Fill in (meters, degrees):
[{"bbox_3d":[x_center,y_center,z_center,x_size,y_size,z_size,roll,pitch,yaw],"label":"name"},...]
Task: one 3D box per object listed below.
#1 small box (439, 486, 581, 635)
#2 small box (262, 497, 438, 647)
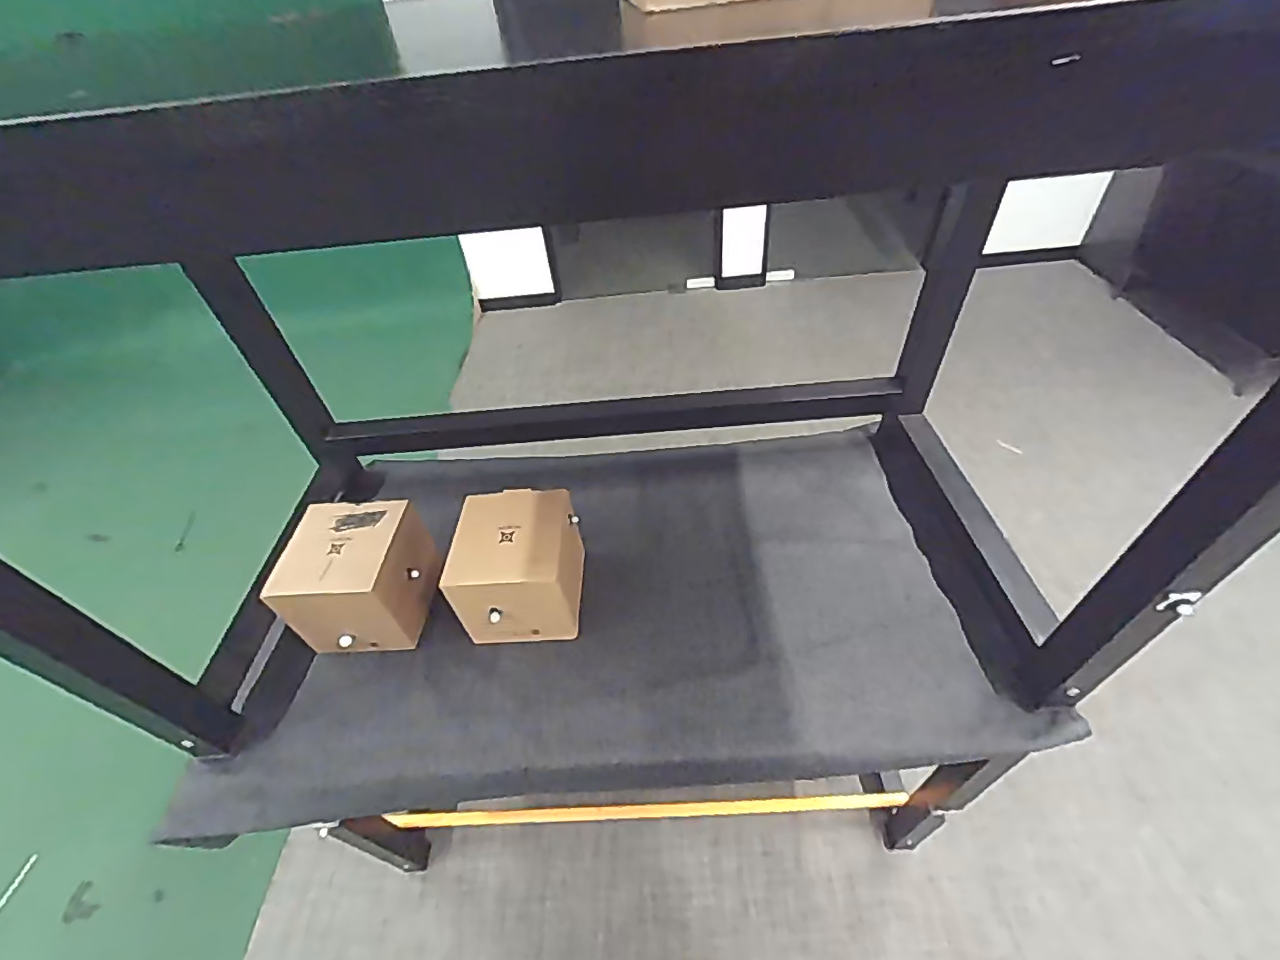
[{"bbox_3d":[-0.191,0.133,0.856,0.168,0.176,0.179,-3,45,3],"label":"small box"},{"bbox_3d":[-0.443,0.147,0.867,0.168,0.176,0.179,-3,46,3],"label":"small box"}]
